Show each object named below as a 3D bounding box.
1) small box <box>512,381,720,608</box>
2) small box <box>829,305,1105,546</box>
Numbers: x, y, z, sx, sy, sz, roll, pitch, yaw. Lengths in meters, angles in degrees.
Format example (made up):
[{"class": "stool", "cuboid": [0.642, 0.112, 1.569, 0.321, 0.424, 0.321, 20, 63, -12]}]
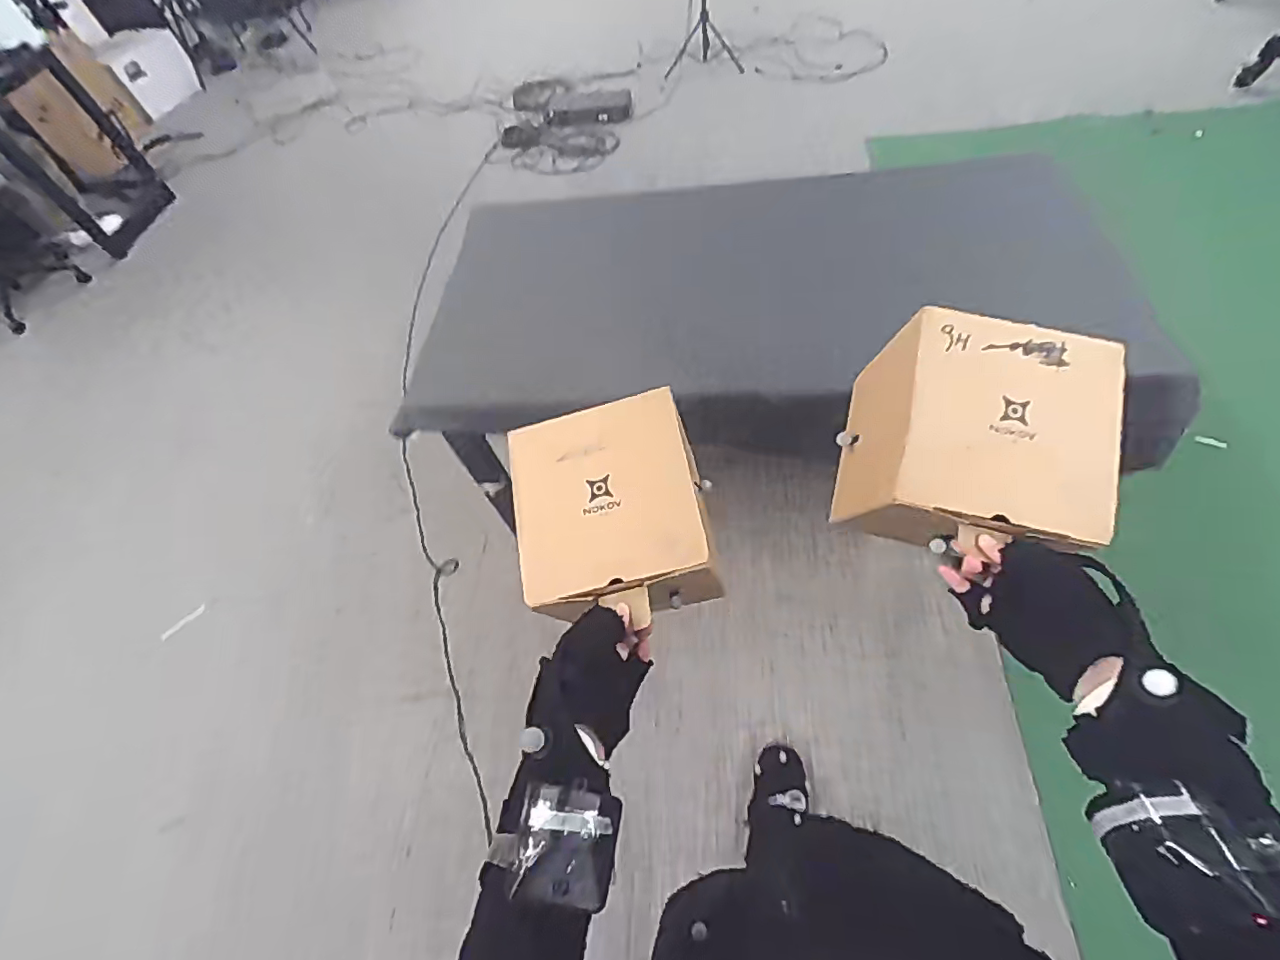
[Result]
[{"class": "small box", "cuboid": [-0.017, 0.030, 0.568, 0.168, 0.176, 0.179, -15, 66, 6]}, {"class": "small box", "cuboid": [0.300, -0.038, 0.533, 0.168, 0.176, 0.179, 13, 80, 4]}]
